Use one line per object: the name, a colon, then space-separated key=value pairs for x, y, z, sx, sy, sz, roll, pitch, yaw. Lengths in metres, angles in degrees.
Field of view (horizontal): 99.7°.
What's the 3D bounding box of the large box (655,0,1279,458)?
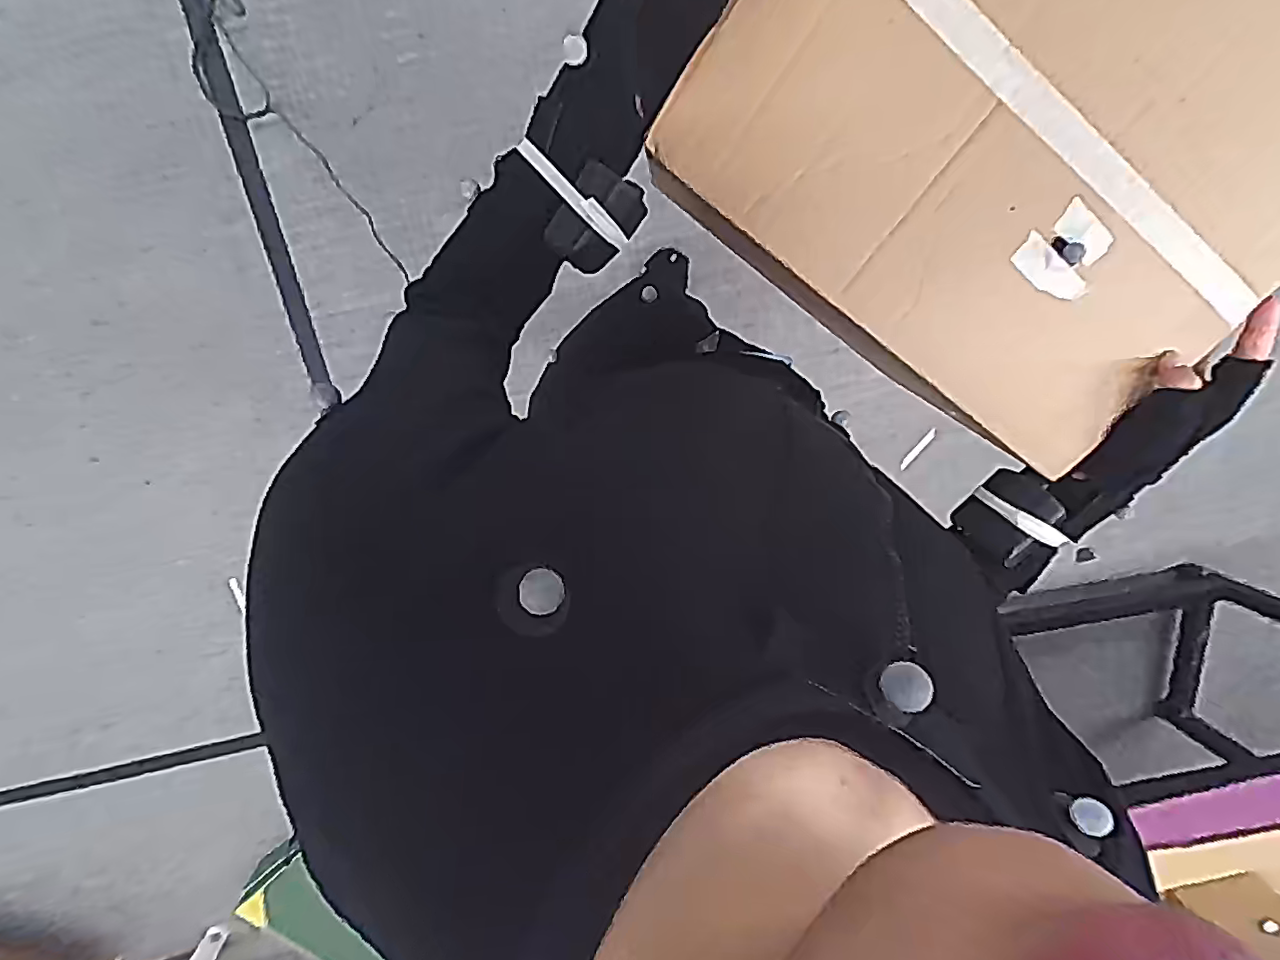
large box: x=0.259 y=-0.293 z=0.482 sx=0.408 sy=0.320 sz=0.320 roll=34 pitch=112 yaw=-13
